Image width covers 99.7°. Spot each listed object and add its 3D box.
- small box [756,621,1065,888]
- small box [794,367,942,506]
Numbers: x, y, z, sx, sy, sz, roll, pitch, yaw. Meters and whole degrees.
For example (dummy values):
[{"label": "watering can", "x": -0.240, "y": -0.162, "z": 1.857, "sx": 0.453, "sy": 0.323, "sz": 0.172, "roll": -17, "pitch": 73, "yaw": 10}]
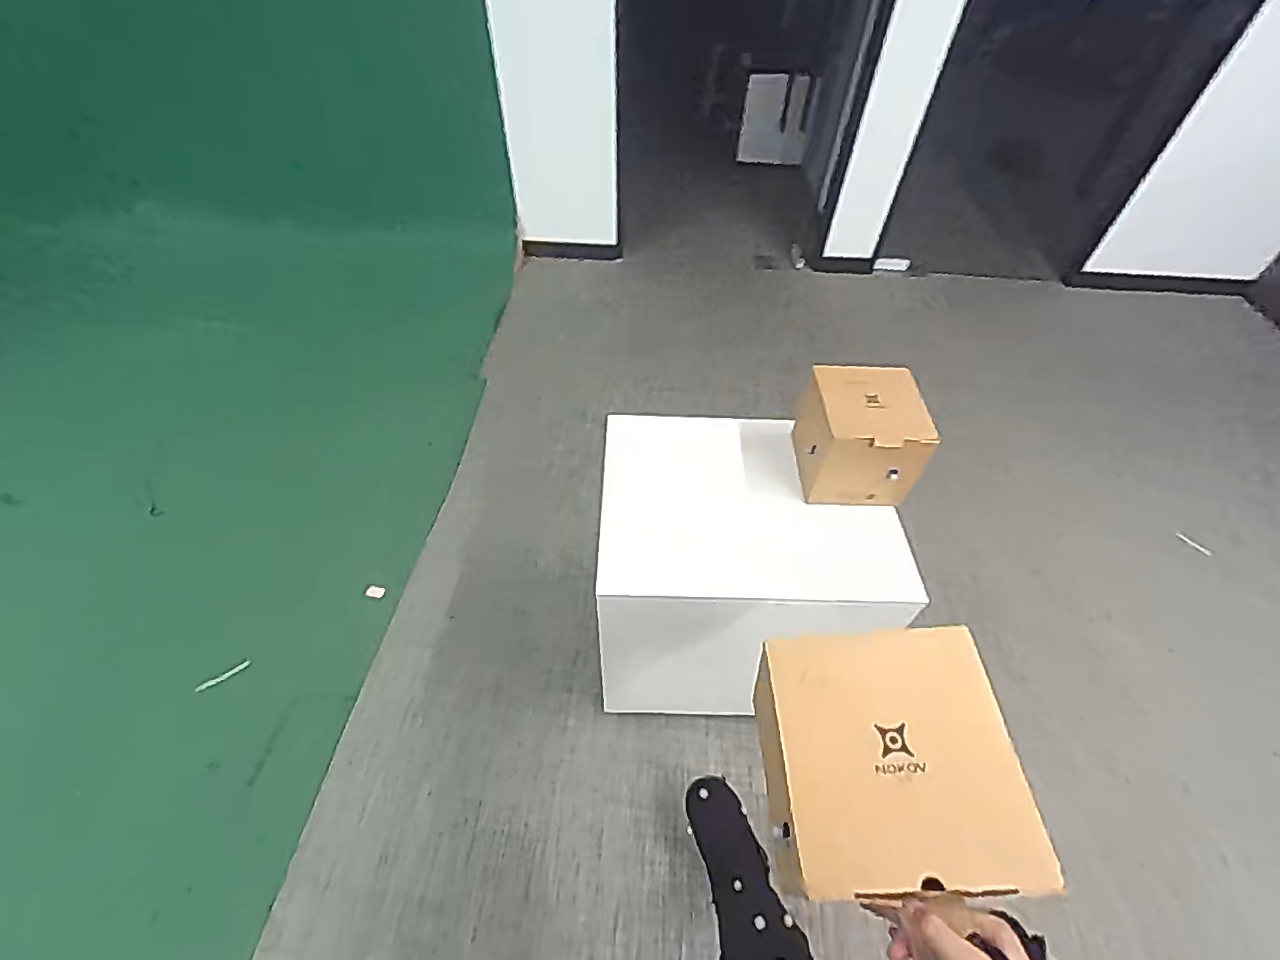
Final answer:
[{"label": "small box", "x": 0.197, "y": 0.239, "z": 0.463, "sx": 0.168, "sy": 0.176, "sz": 0.179, "roll": -5, "pitch": 54, "yaw": 4}, {"label": "small box", "x": 0.374, "y": -0.071, "z": 0.922, "sx": 0.168, "sy": 0.176, "sz": 0.179, "roll": 2, "pitch": 49, "yaw": 0}]
